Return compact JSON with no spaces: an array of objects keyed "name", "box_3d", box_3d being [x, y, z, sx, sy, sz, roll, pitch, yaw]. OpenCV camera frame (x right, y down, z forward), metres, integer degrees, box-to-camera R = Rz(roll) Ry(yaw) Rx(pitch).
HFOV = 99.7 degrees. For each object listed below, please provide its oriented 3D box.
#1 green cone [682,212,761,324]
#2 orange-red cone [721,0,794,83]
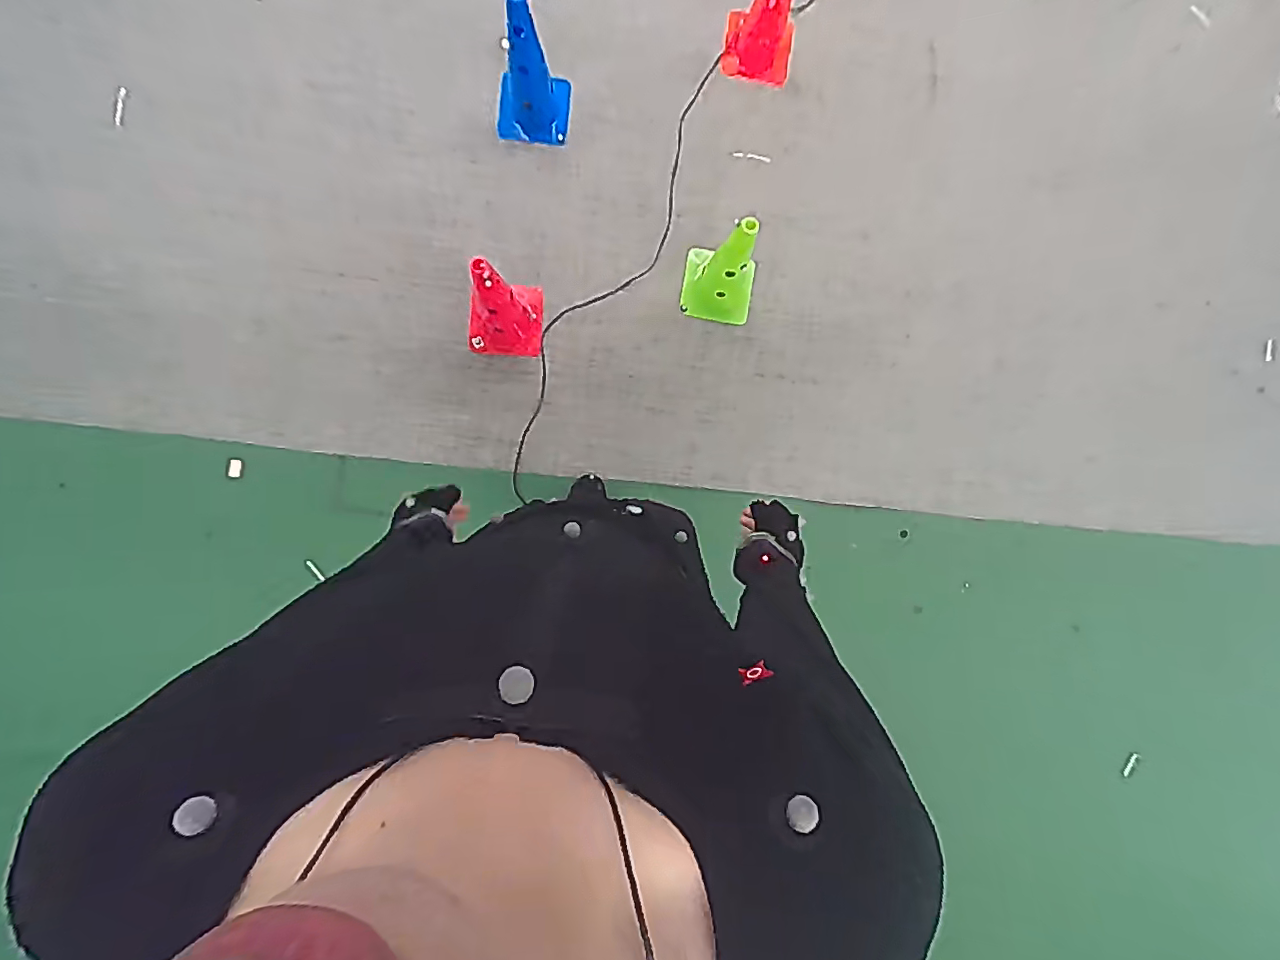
[{"name":"green cone","box_3d":[0.242,-0.567,1.388,0.200,0.368,0.202,8,86,-4]},{"name":"orange-red cone","box_3d":[0.357,-1.289,1.429,0.198,0.360,0.199,11,88,-2]}]
